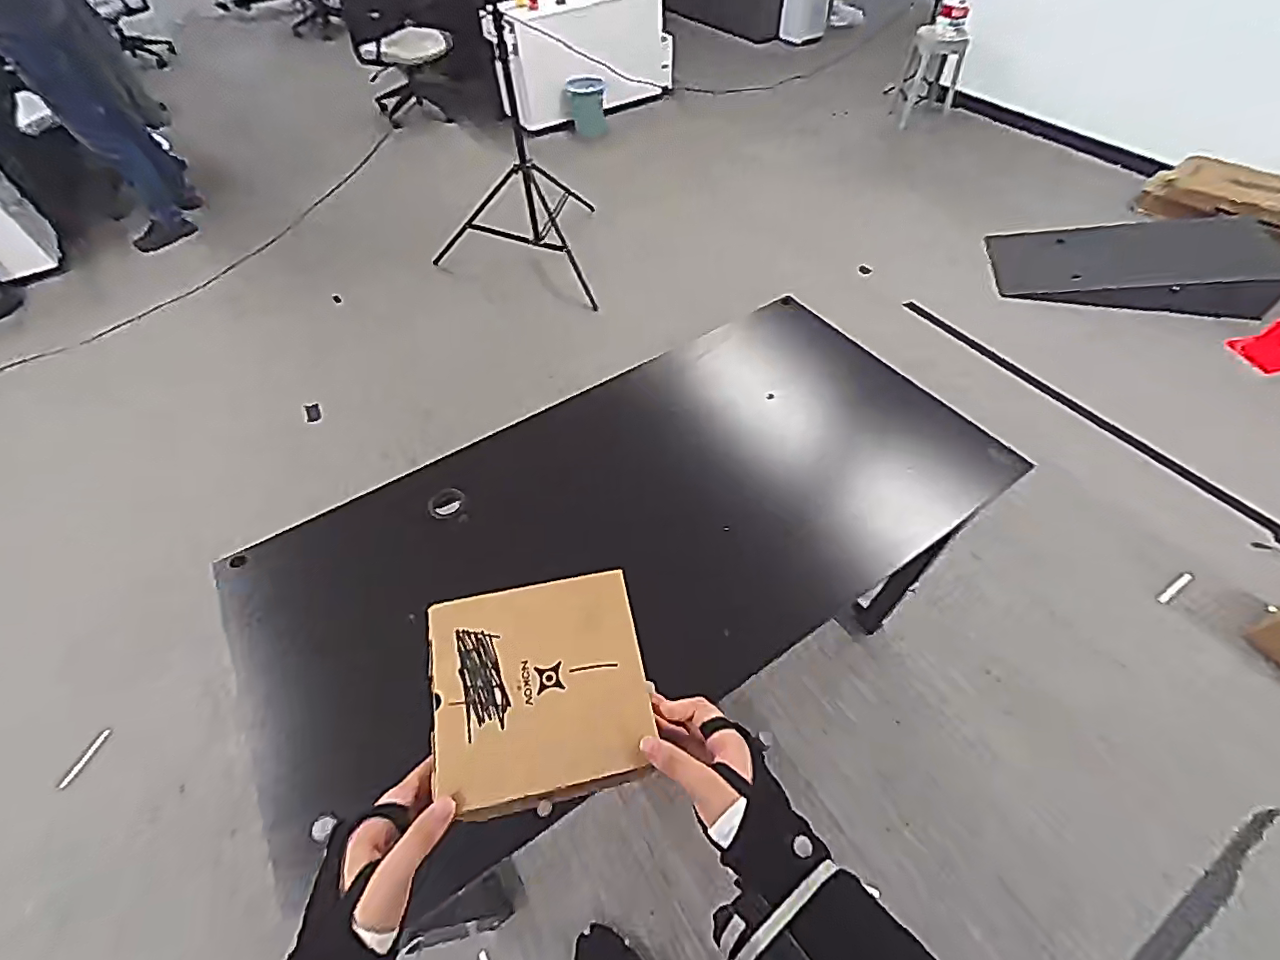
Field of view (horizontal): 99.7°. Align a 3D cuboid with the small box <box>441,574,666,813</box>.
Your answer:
[{"bbox_3d":[-0.081,0.211,0.523,0.179,0.176,0.168,-8,59,-9],"label":"small box"}]

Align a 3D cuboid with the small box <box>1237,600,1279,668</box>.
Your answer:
[{"bbox_3d":[1.718,0.394,1.375,0.168,0.176,0.179,-27,57,-17],"label":"small box"}]
